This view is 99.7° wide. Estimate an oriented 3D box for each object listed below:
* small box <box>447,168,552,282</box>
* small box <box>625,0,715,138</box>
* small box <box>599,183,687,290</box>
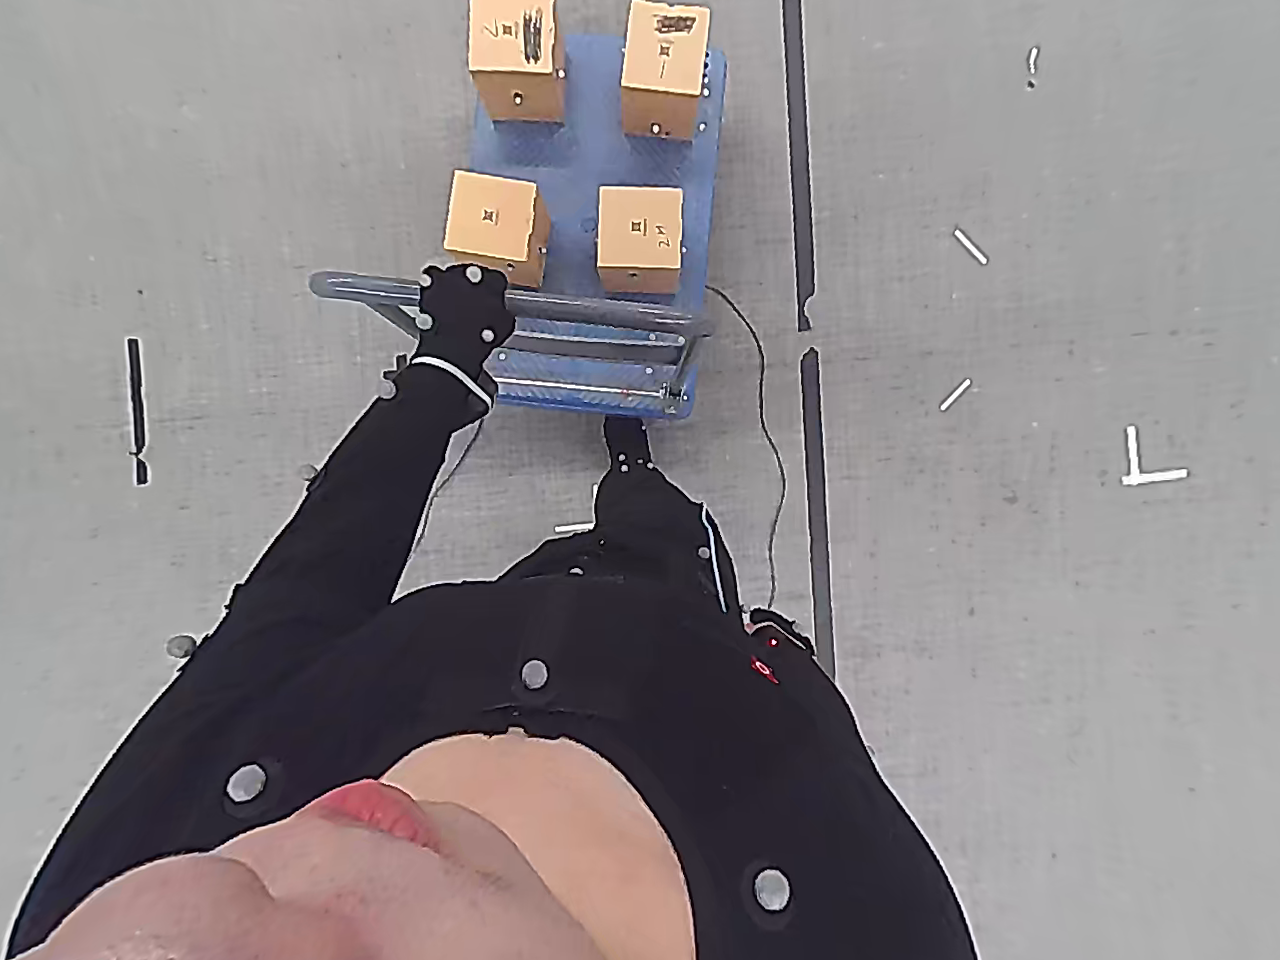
[{"bbox_3d":[-0.302,-0.552,1.193,0.179,0.176,0.168,9,92,-1],"label":"small box"},{"bbox_3d":[0.060,-0.889,1.175,0.168,0.176,0.179,7,93,0],"label":"small box"},{"bbox_3d":[0.007,-0.527,1.191,0.179,0.176,0.168,2,92,0],"label":"small box"}]
